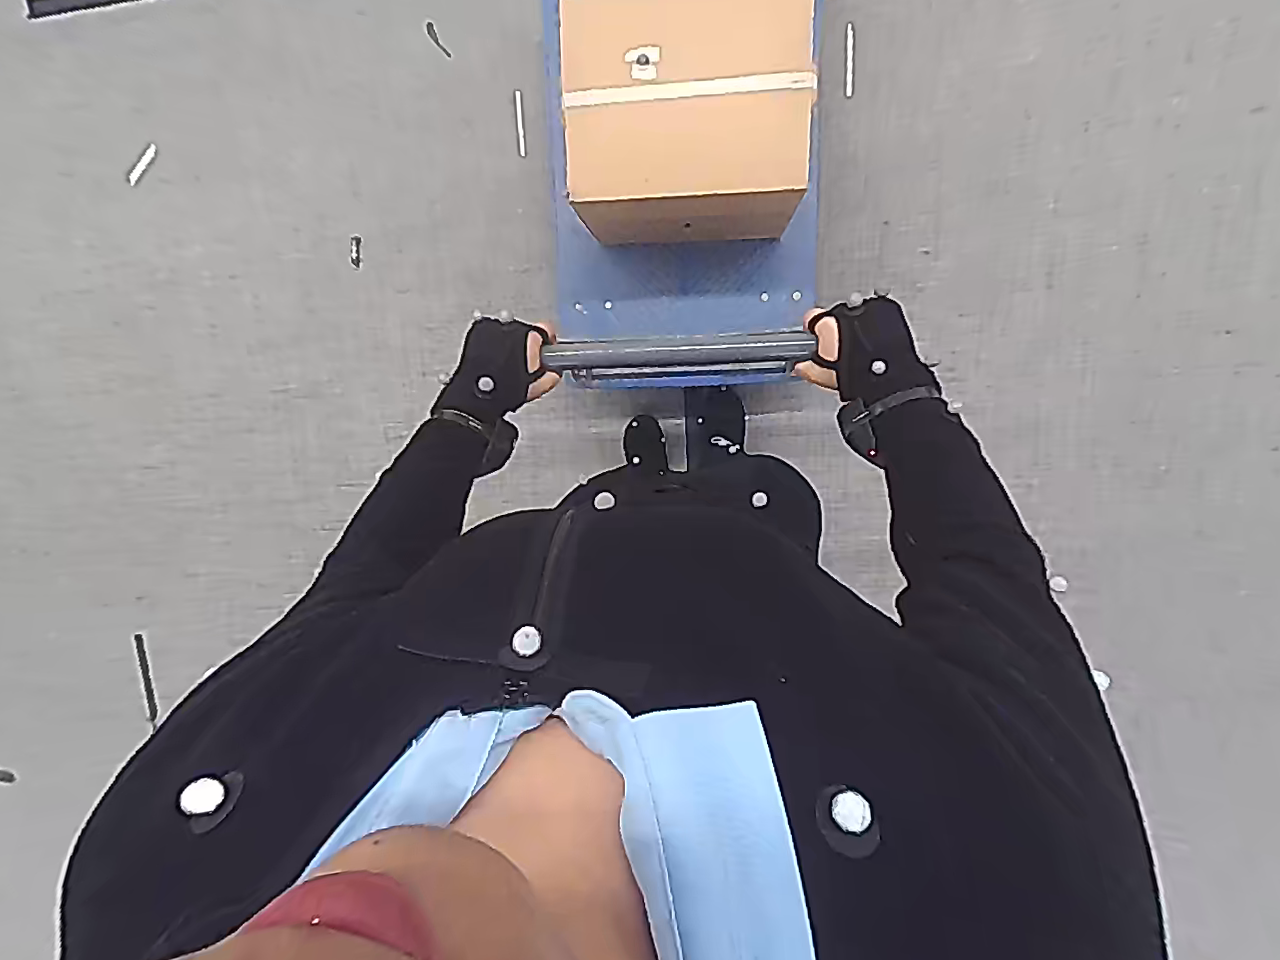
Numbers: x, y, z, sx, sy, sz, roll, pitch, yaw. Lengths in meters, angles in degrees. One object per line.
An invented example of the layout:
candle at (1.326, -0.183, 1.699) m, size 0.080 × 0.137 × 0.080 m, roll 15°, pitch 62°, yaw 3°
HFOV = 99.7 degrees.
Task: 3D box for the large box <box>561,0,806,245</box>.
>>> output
large box at (0.089, -0.660, 1.041) m, size 0.408 × 0.320 × 0.320 m, roll 0°, pitch 99°, yaw 7°
